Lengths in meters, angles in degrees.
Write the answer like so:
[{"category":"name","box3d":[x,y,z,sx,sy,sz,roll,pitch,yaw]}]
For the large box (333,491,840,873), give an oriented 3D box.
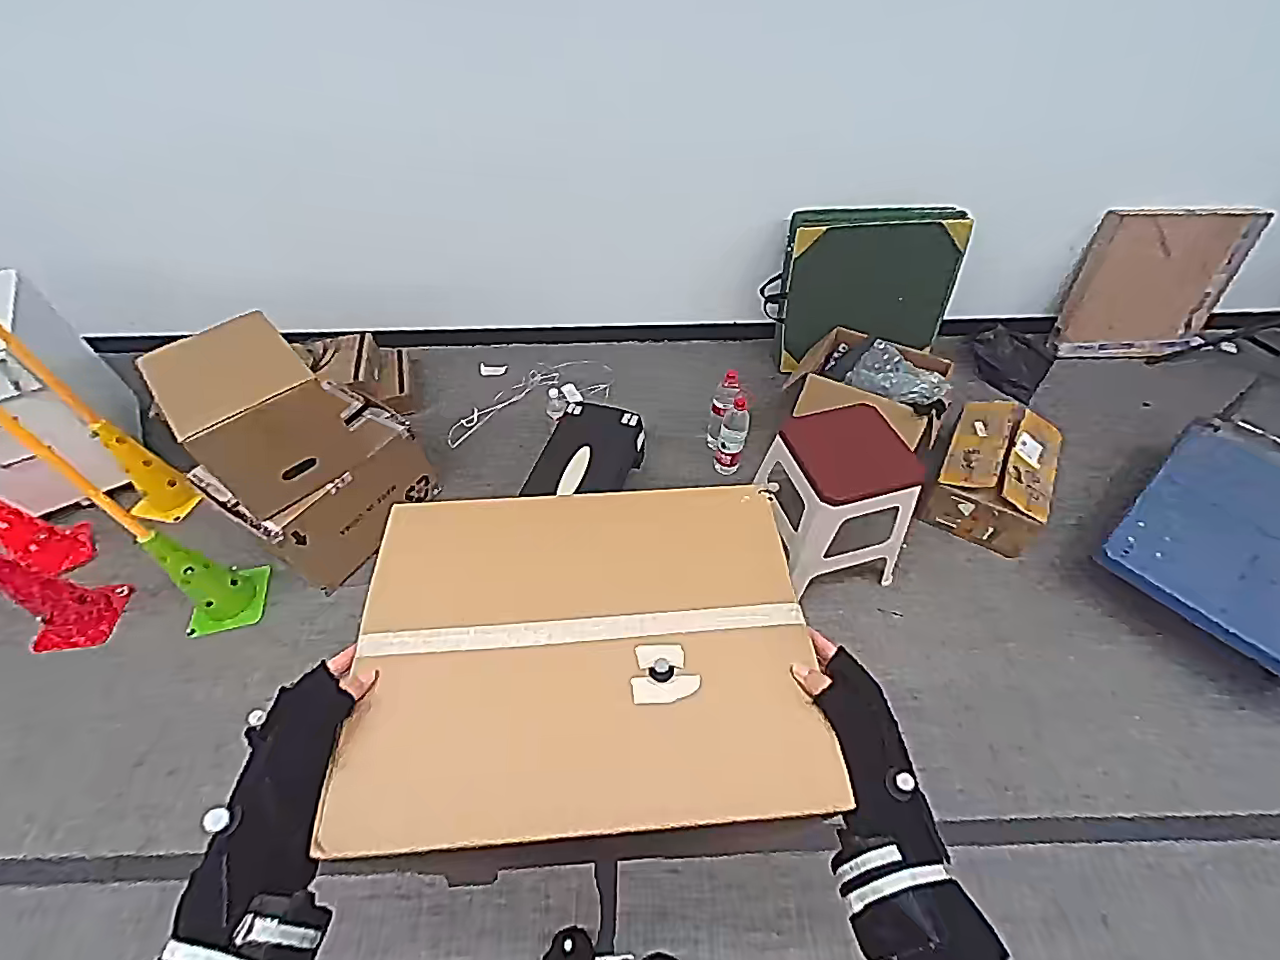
[{"category":"large box","box3d":[-0.052,0.235,0.625,0.408,0.320,0.320,-3,52,-3]}]
